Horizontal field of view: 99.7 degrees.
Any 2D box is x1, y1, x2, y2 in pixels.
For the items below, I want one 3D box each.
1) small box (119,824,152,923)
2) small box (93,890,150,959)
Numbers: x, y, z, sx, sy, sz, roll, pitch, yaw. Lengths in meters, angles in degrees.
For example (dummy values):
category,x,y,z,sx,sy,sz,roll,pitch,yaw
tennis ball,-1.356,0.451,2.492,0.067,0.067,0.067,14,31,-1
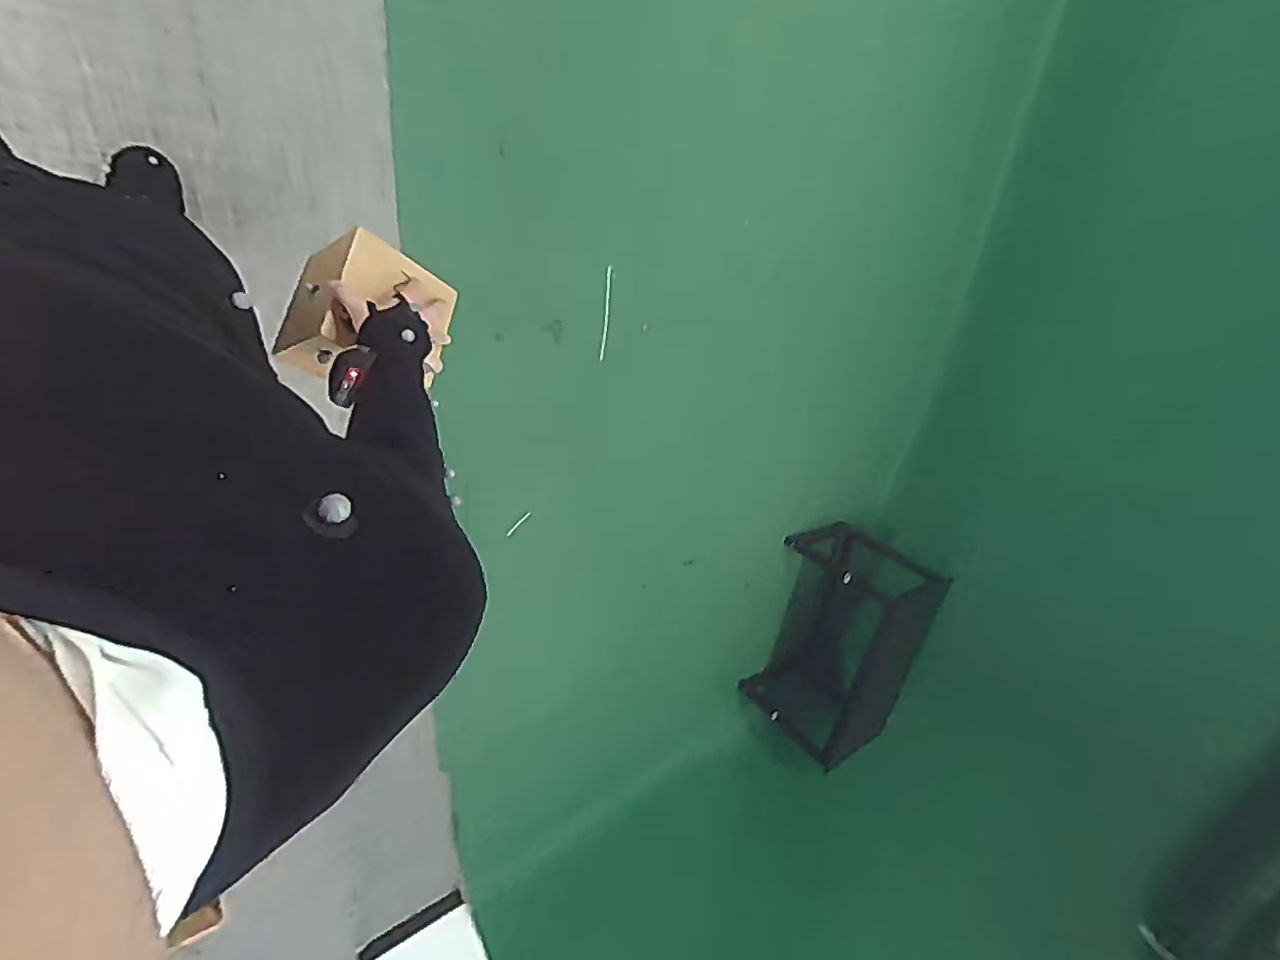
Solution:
category,x,y,z,sx,sy,sz,roll,pitch,yaw
small box,-1.180,0.899,1.166,0.168,0.176,0.179,-10,120,-37
small box,-1.083,0.962,1.052,0.168,0.176,0.179,-10,119,-36
